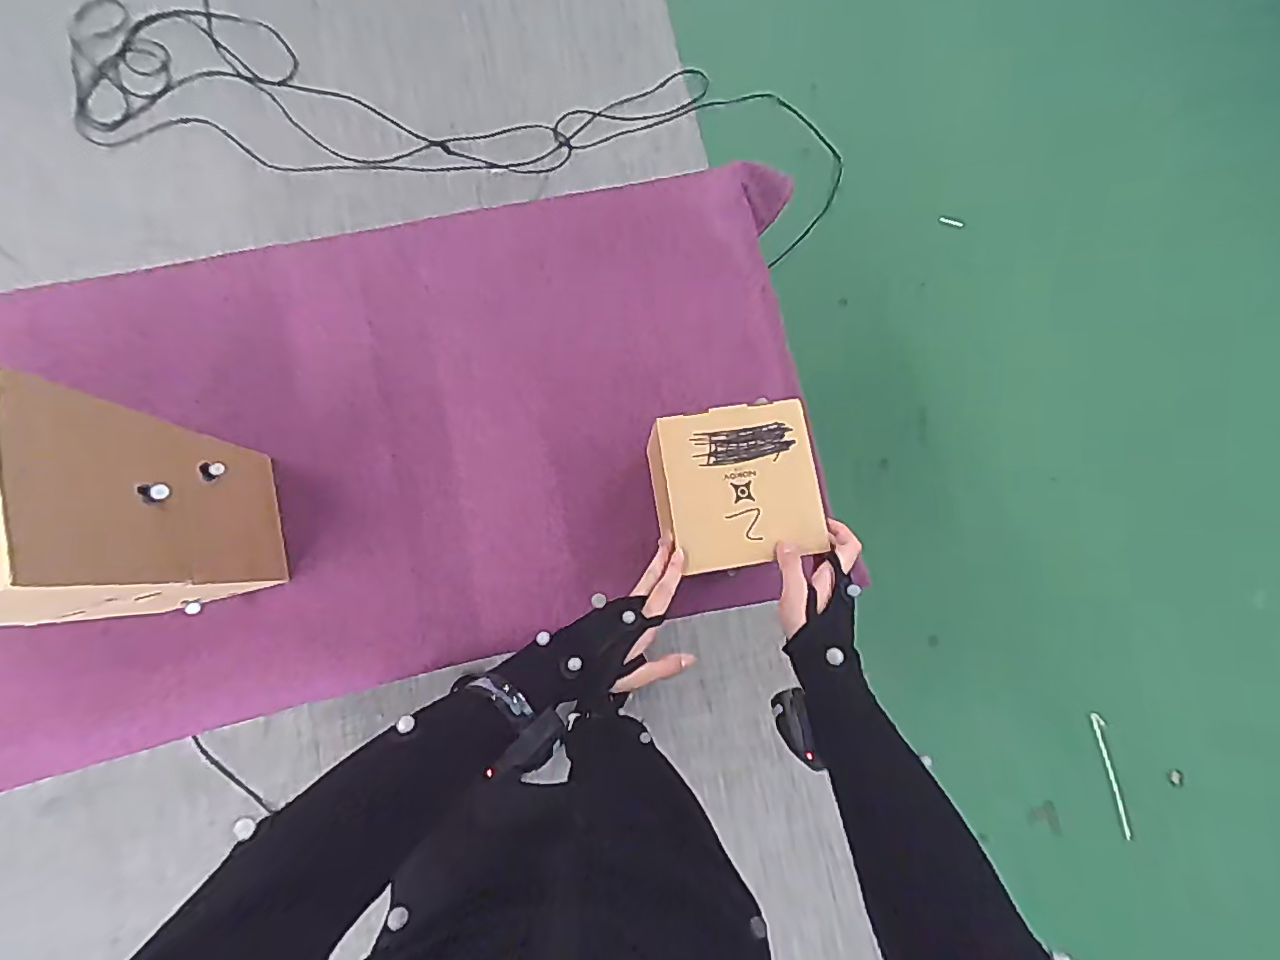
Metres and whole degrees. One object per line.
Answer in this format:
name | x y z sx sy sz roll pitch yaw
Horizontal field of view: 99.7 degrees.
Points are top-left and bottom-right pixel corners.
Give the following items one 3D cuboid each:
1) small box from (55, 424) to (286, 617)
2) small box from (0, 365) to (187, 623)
small box | -0.552 0.053 0.630 0.168 0.176 0.179 -13 82 -4
small box | -0.545 0.026 0.468 0.168 0.176 0.179 -14 81 -4
